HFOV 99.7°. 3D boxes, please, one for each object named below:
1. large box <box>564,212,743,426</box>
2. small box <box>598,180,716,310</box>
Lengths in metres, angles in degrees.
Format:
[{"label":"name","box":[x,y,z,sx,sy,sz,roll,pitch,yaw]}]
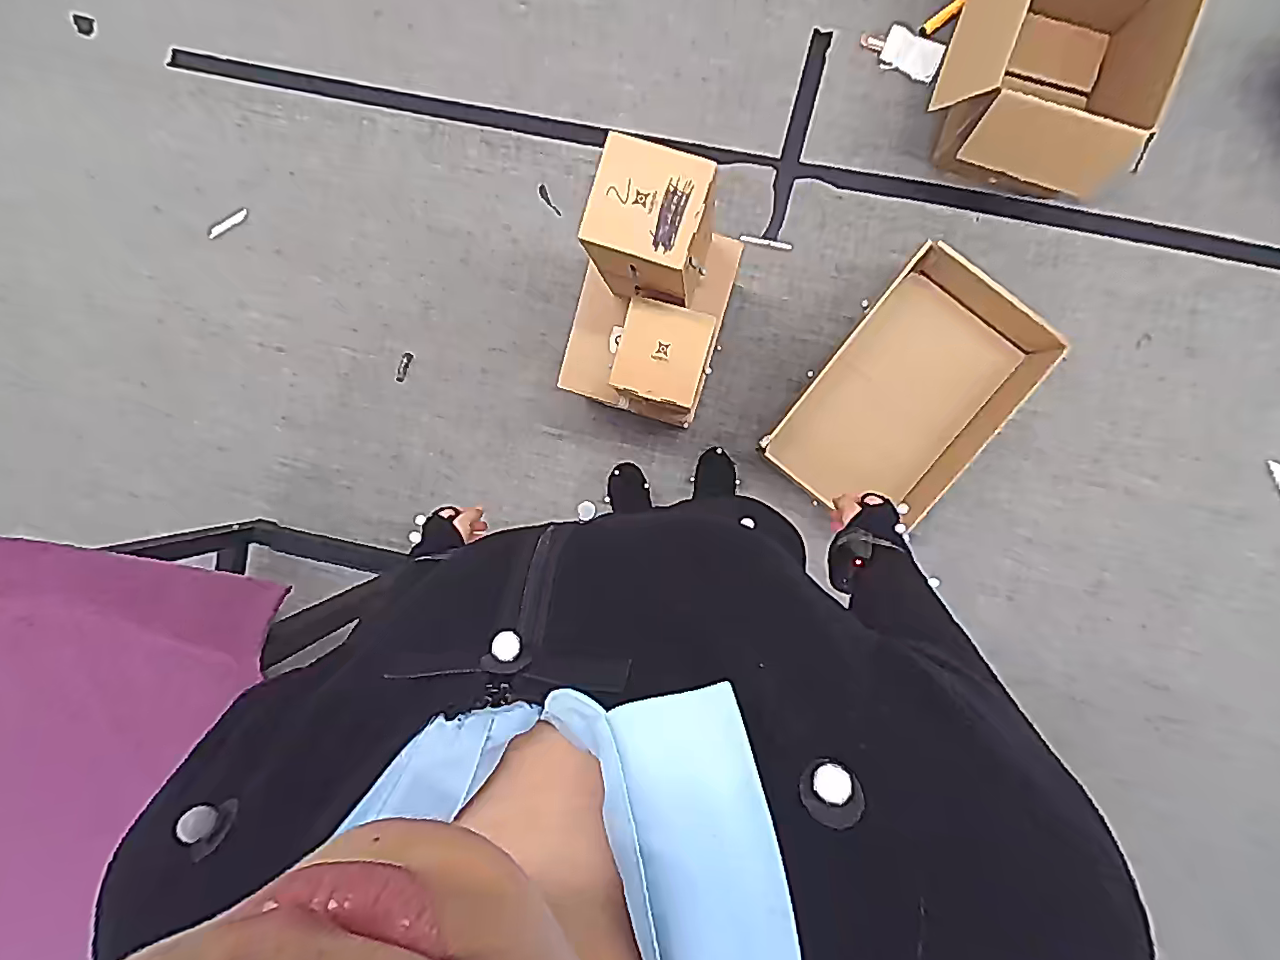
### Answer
[{"label":"large box","box":[0.038,-0.362,1.311,0.320,0.320,0.408,16,97,5]},{"label":"small box","box":[0.037,-0.447,1.056,0.179,0.176,0.168,19,98,3]}]
